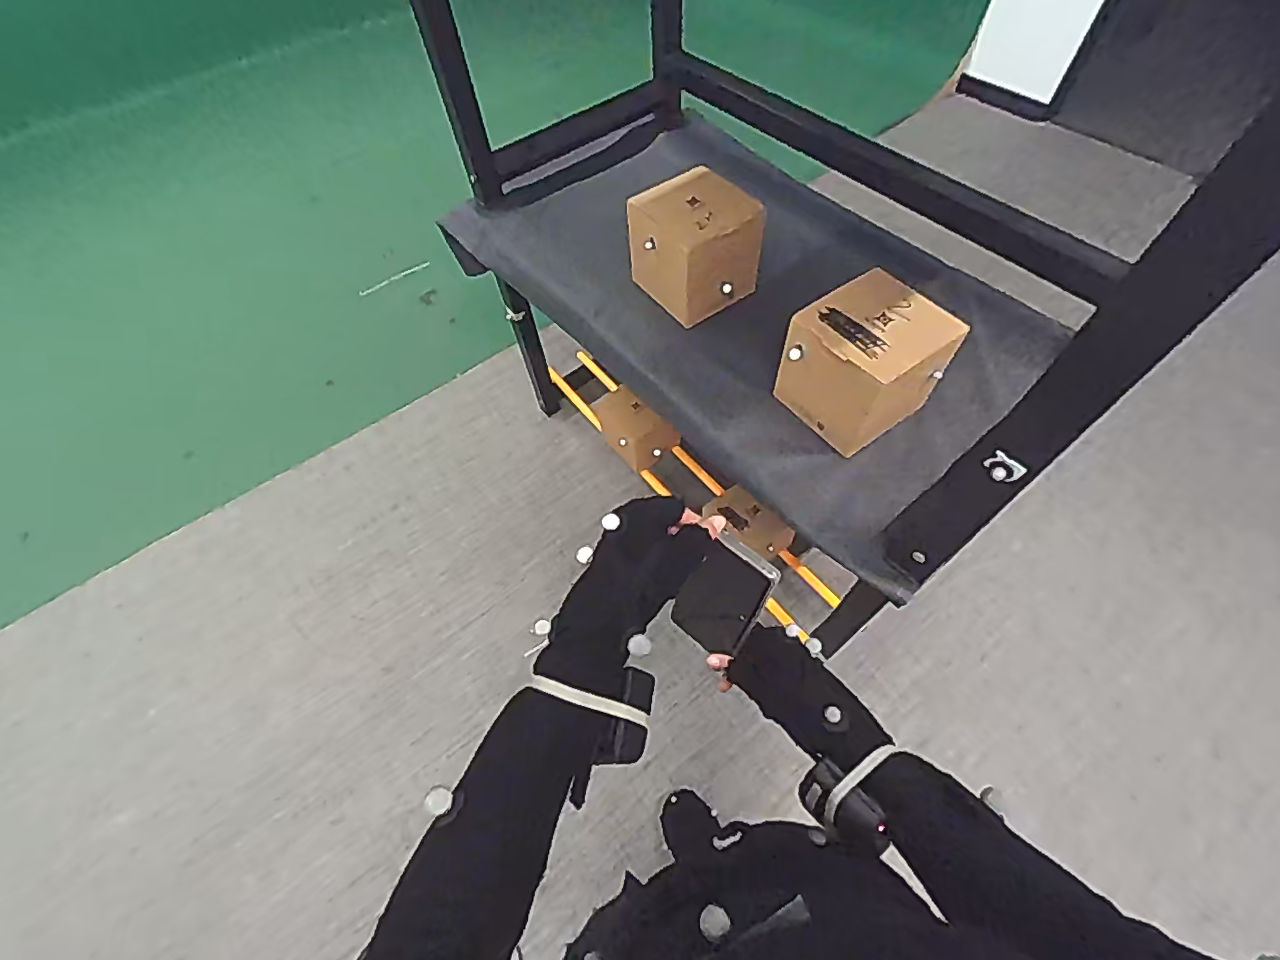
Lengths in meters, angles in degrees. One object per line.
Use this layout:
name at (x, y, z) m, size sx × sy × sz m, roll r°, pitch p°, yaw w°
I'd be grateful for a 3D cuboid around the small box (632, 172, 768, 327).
small box at (0.102, -0.413, 0.978) m, size 0.168 × 0.176 × 0.179 m, roll -32°, pitch 62°, yaw -15°

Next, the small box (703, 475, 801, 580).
small box at (0.276, 0.126, 1.368) m, size 0.179 × 0.176 × 0.168 m, roll -32°, pitch 62°, yaw -15°
